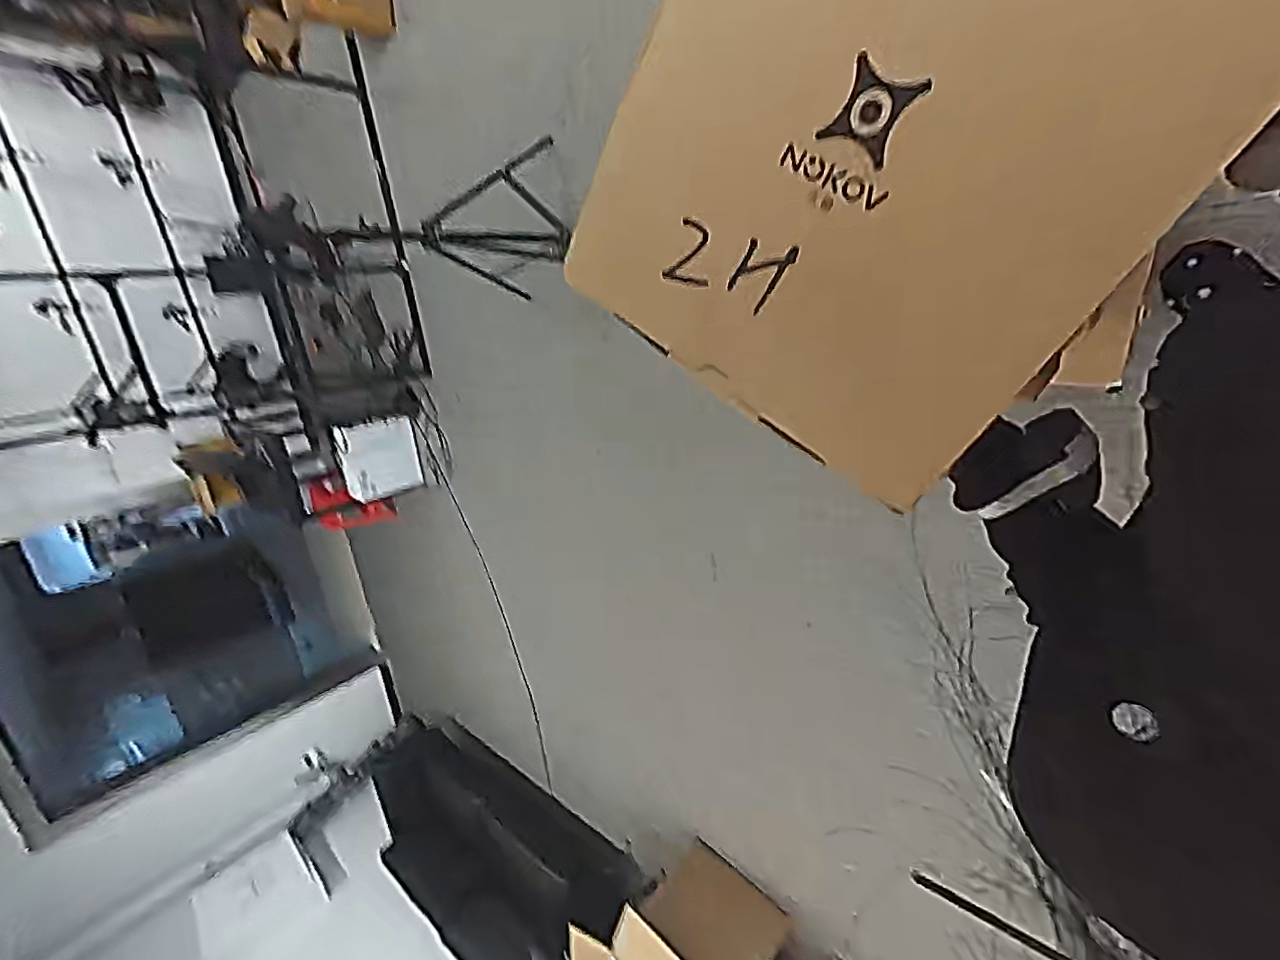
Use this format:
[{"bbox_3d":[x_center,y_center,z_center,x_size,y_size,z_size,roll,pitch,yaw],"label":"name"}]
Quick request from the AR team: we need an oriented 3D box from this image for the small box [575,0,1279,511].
[{"bbox_3d":[0.109,-0.122,0.227,0.168,0.176,0.179,39,122,17],"label":"small box"}]
